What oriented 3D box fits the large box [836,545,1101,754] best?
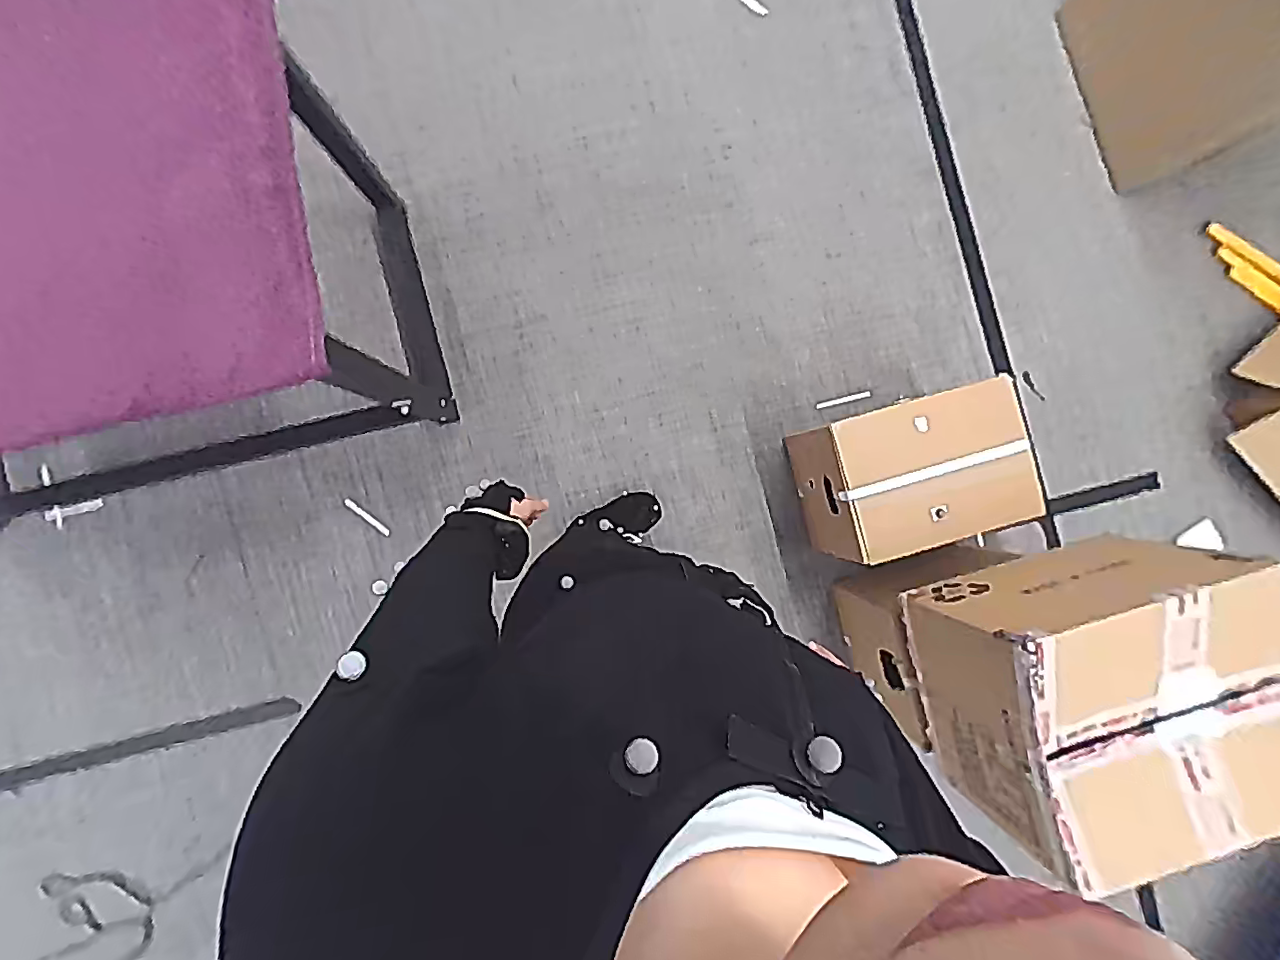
[{"bbox_3d":[0.746,0.371,1.282,0.408,0.320,0.320,-15,90,-2],"label":"large box"}]
